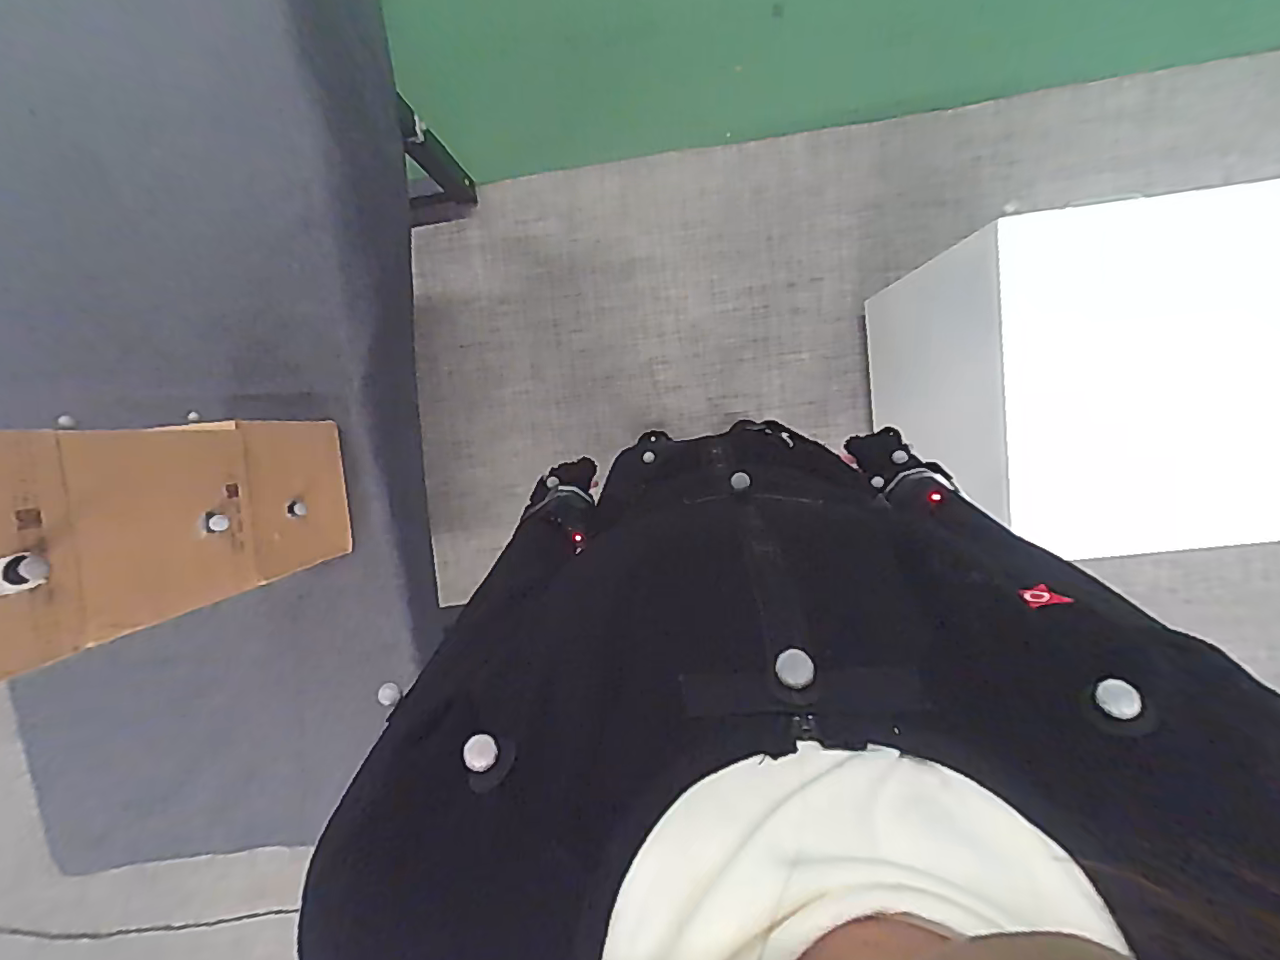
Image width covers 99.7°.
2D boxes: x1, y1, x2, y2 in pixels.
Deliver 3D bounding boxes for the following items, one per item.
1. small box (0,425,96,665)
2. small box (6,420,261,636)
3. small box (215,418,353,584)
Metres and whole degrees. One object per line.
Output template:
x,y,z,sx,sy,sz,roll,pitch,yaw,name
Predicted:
-0.512,0.053,0.335,0.179,0.176,0.168,-3,97,5,small box
-0.499,0.035,0.495,0.179,0.176,0.168,-4,96,8,small box
-0.479,0.018,0.658,0.168,0.176,0.179,-4,96,6,small box
